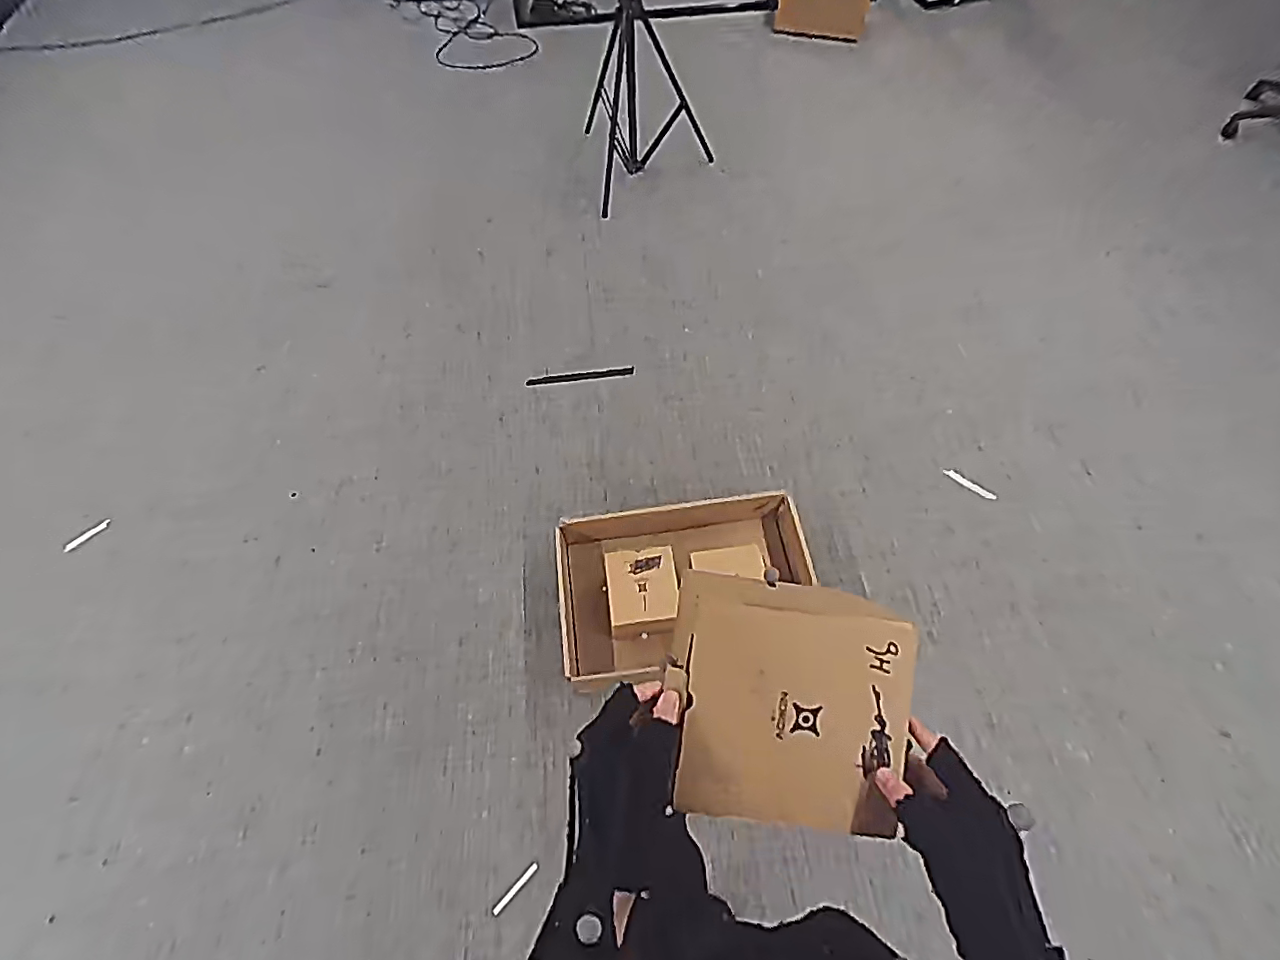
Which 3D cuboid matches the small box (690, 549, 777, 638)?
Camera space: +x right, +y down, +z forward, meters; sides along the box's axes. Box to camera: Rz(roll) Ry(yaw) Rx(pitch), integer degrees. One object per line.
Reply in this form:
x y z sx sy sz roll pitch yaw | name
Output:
0.224 0.285 1.344 0.179 0.176 0.168 -7 61 -1 | small box
